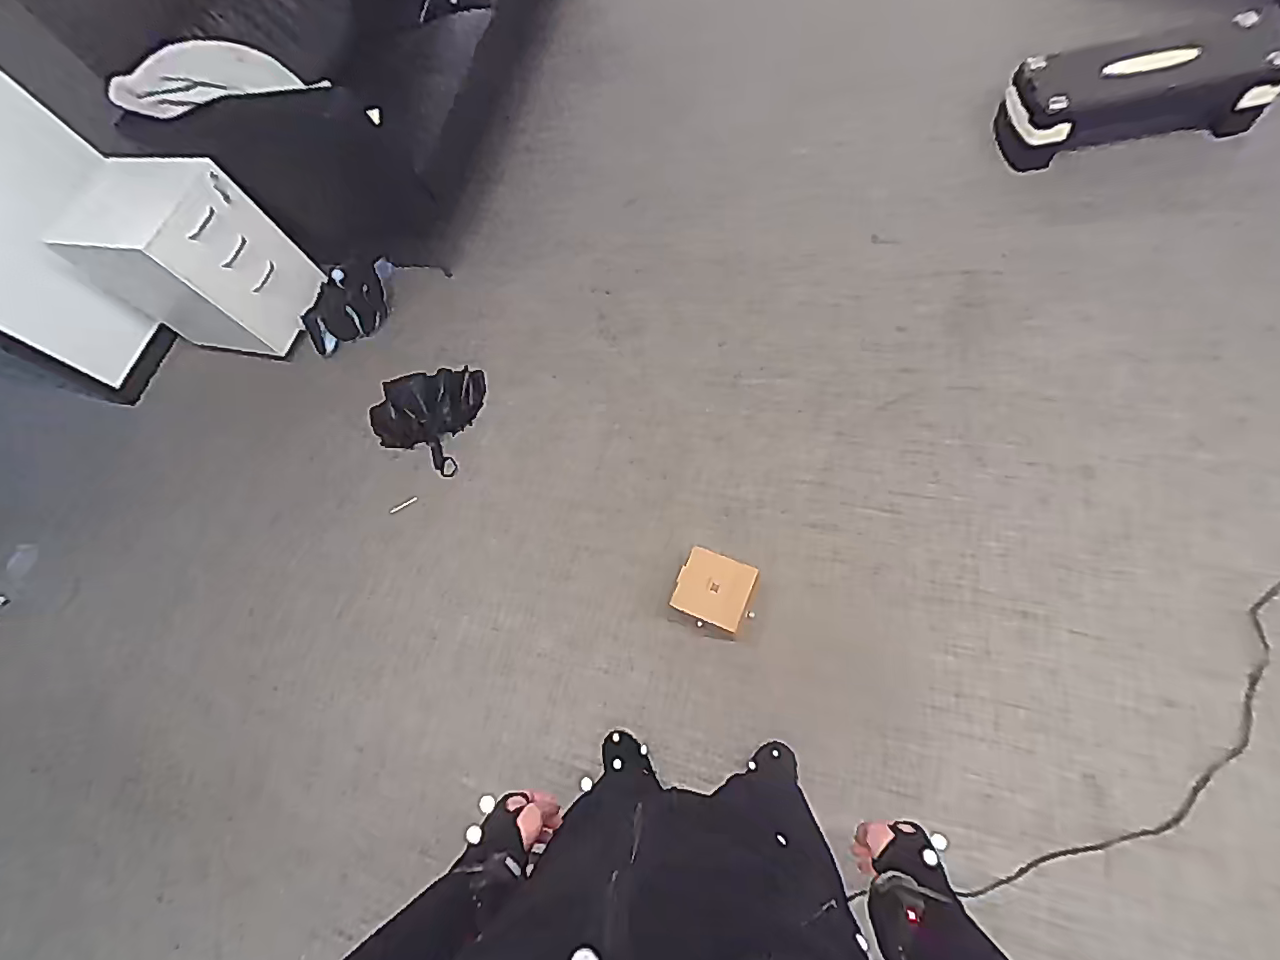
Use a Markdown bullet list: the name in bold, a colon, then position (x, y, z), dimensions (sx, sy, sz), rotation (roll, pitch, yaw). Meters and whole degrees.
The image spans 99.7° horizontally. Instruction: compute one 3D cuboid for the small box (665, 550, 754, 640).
- **small box**: position (0.186, 0.305, 1.406), dimensions (0.179, 0.176, 0.168), rotation (19, 73, 18)
